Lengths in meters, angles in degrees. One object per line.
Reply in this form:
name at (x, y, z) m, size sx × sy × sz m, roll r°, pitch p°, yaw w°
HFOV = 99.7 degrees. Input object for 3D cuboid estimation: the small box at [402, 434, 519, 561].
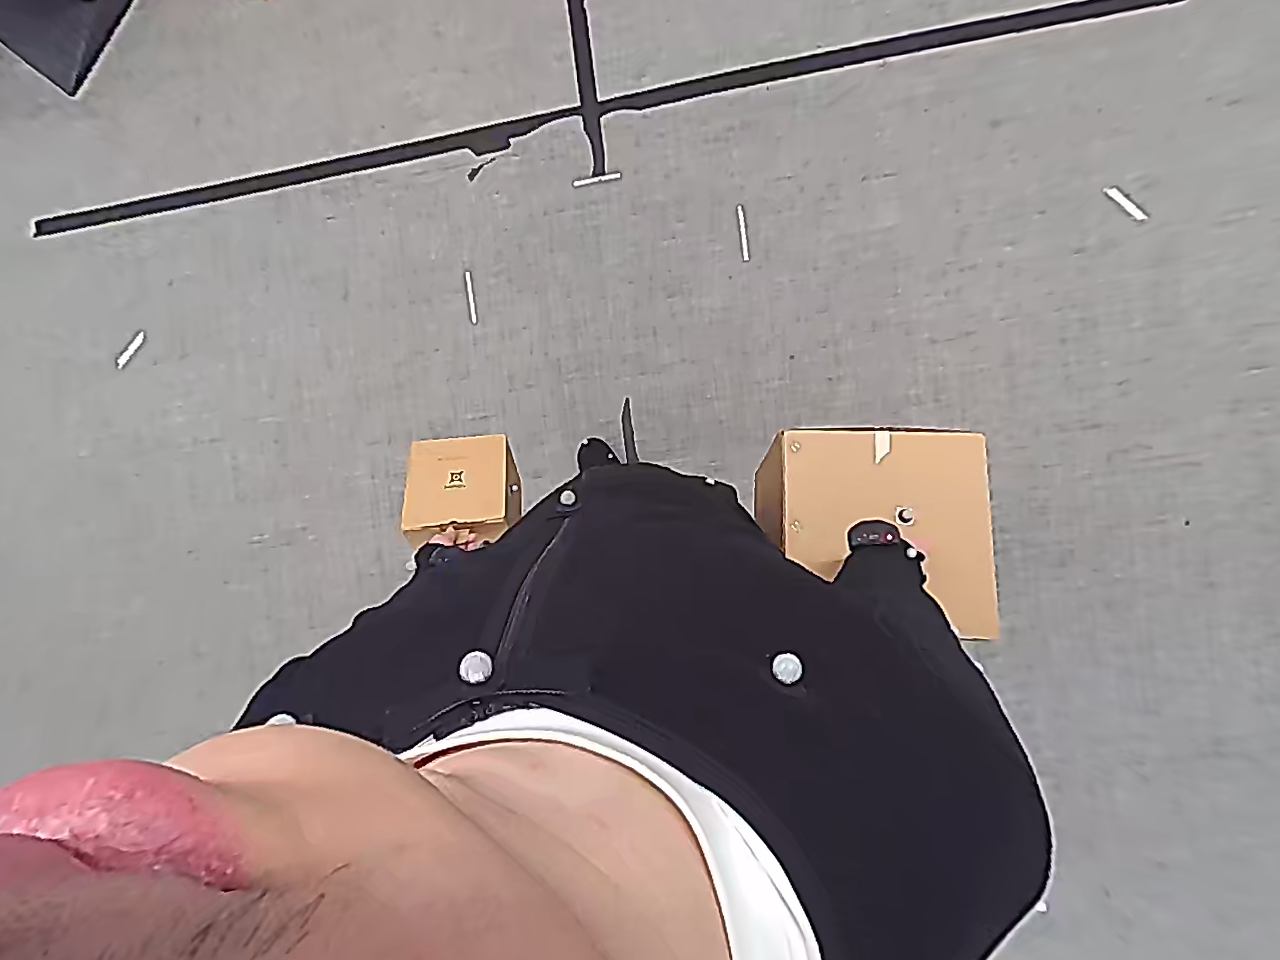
small box at (-0.315, 0.039, 0.985) m, size 0.168 × 0.176 × 0.179 m, roll -5°, pitch 58°, yaw -6°
